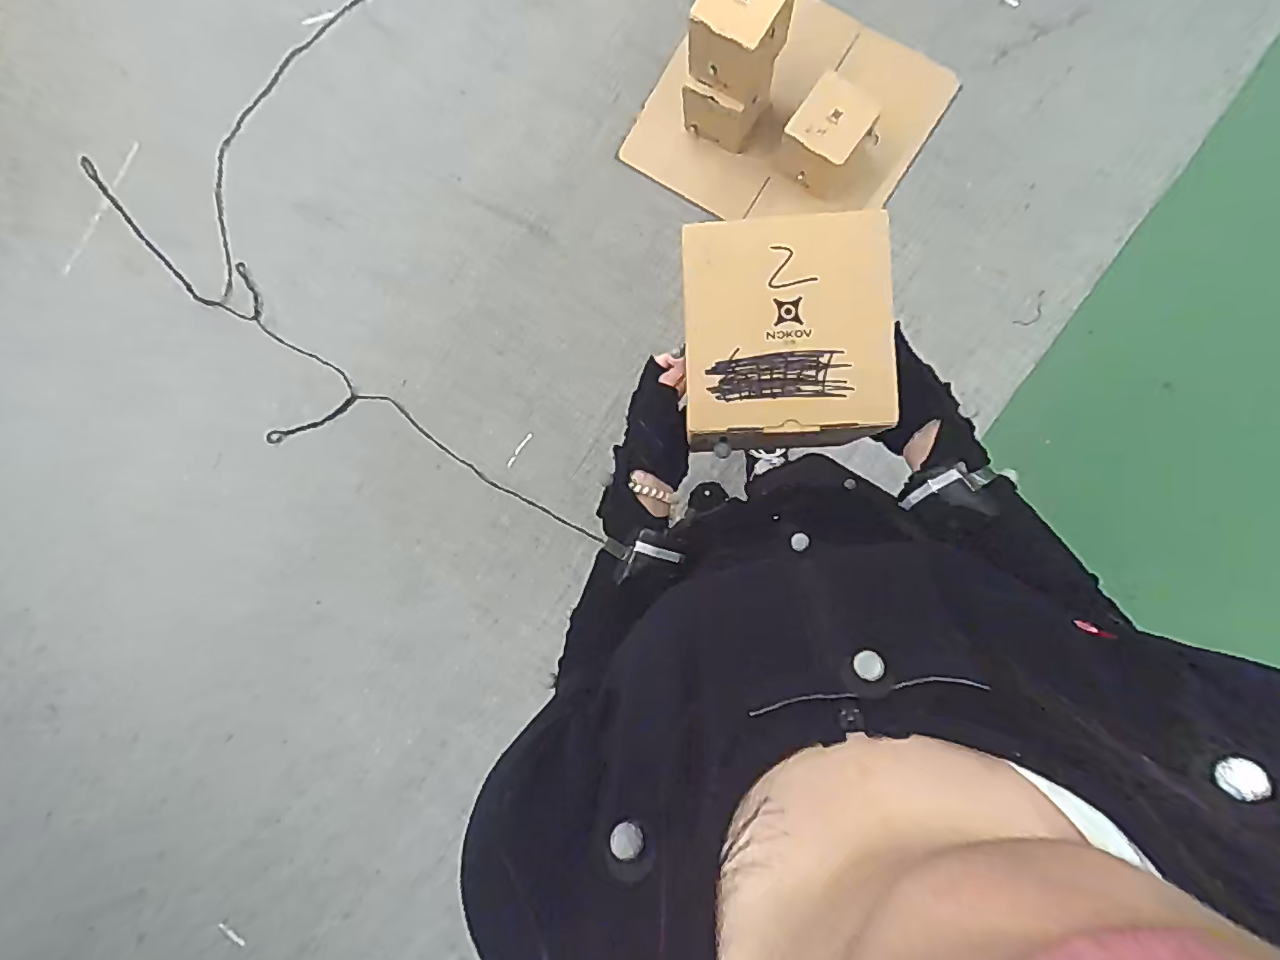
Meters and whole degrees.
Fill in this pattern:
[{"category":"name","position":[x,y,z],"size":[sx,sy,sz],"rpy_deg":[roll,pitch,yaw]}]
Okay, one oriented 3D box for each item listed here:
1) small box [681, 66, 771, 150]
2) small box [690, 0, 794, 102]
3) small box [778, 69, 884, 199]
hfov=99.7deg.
[{"category":"small box","position":[0.221,-0.988,1.373],"size":[0.168,0.176,0.179],"rpy_deg":[30,93,5]},{"category":"small box","position":[0.222,-1.008,1.209],"size":[0.168,0.176,0.179],"rpy_deg":[33,94,5]},{"category":"small box","position":[0.464,-0.852,1.350],"size":[0.168,0.176,0.179],"rpy_deg":[37,95,6]}]
